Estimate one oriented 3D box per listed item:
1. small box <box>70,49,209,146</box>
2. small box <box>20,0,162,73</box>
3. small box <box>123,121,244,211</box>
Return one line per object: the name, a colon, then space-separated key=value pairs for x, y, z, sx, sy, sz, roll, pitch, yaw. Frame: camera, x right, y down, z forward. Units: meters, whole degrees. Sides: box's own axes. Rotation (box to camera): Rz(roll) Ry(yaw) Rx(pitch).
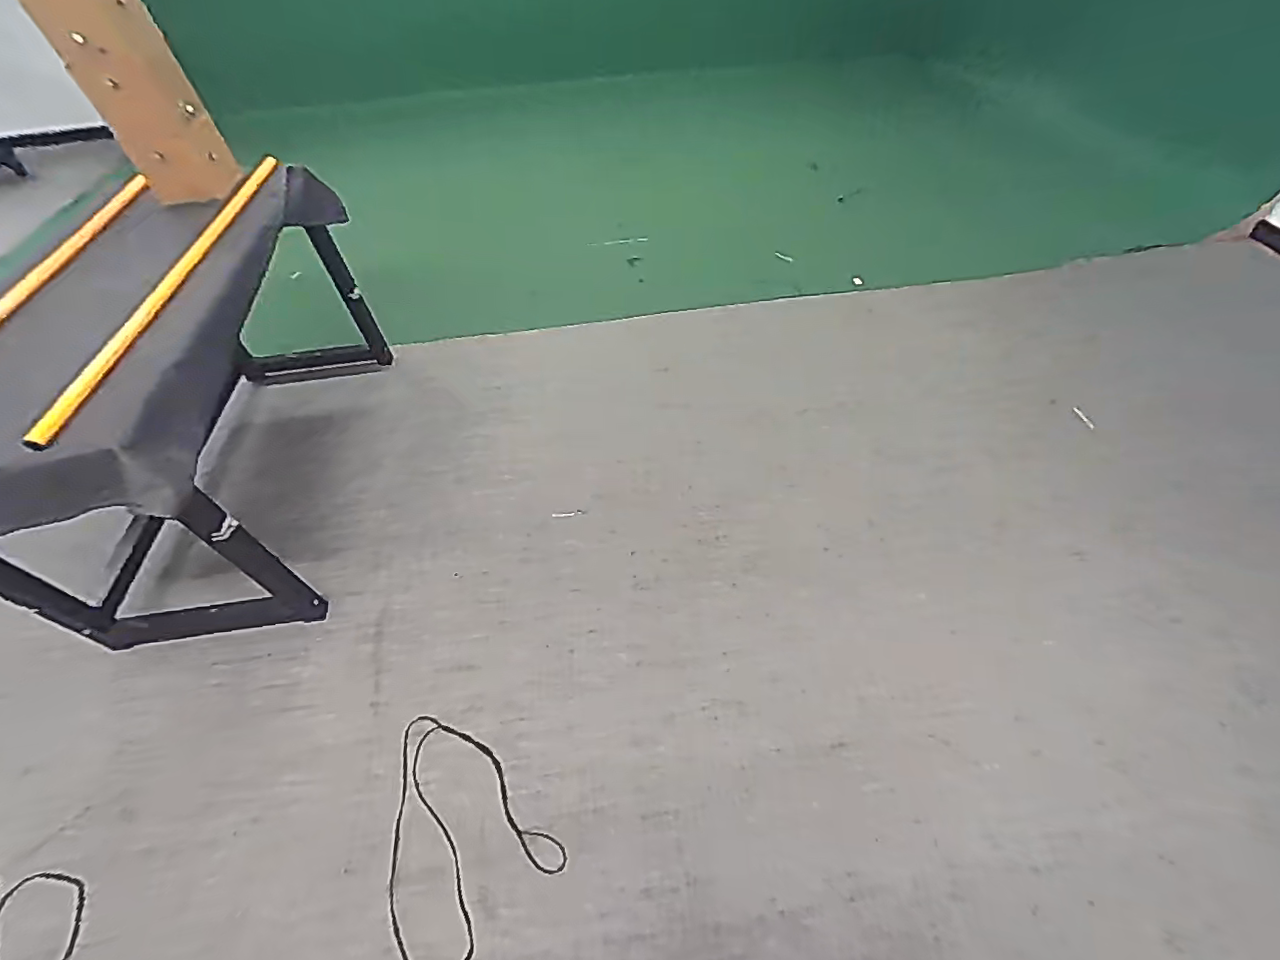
small box: x=-1.301 y=-1.001 z=1.422 sx=0.179 sy=0.176 sz=0.168 roll=-8 pitch=52 yaw=-2
small box: x=-1.309 y=-1.104 z=1.293 sx=0.168 sy=0.176 sz=0.179 roll=-9 pitch=53 yaw=-1
small box: x=-1.288 y=-0.895 z=1.544 sx=0.179 sy=0.176 sz=0.168 roll=-7 pitch=51 yaw=-1
